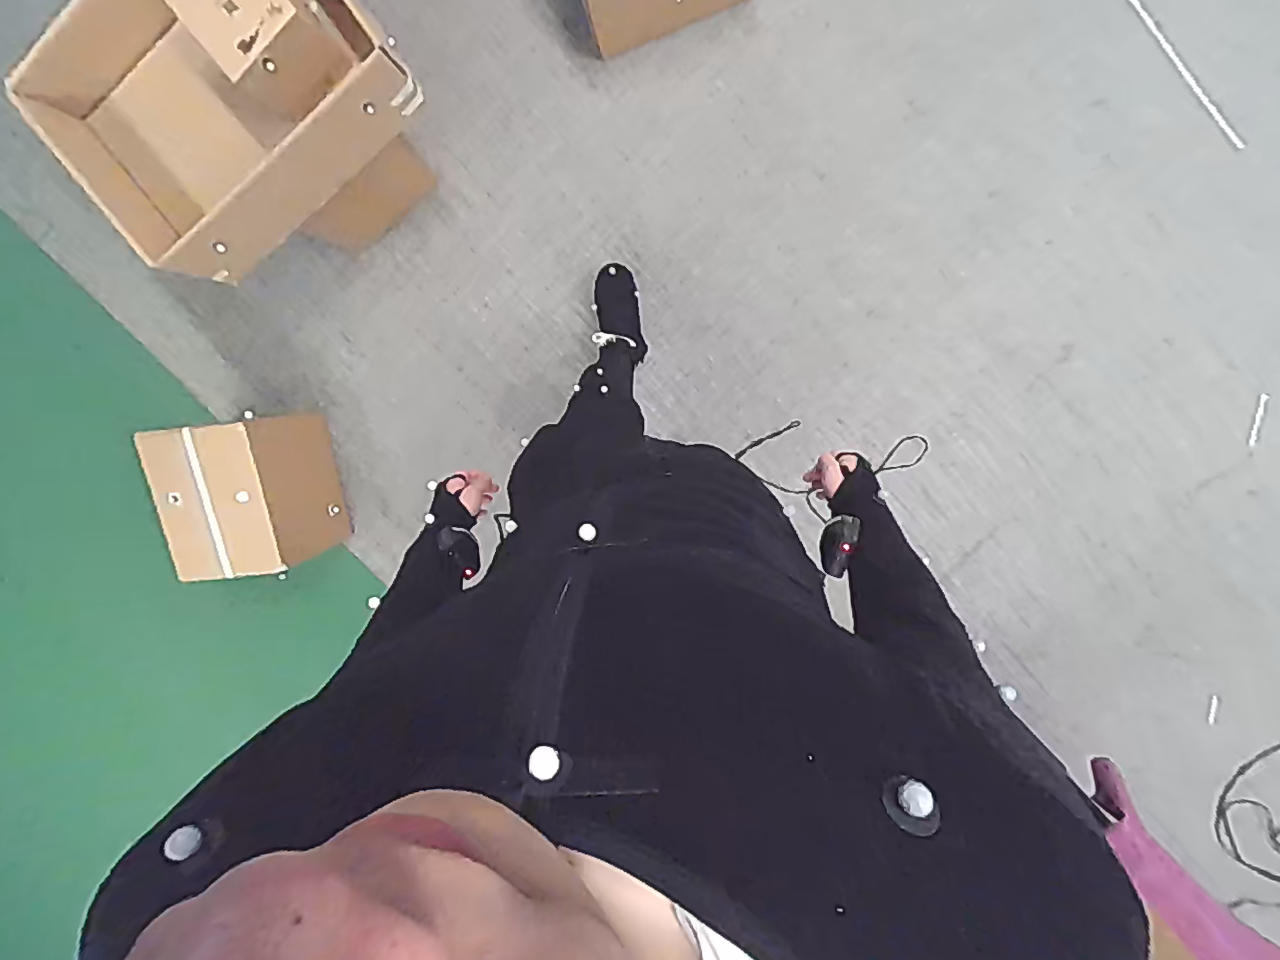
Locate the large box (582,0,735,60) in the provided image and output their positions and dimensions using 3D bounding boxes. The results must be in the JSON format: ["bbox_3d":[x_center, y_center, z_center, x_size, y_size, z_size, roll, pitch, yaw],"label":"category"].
[{"bbox_3d":[0.028,-1.236,1.183,0.408,0.320,0.320,-18,101,9],"label":"large box"}]

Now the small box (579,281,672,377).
[{"bbox_3d":[-0.043,-0.399,1.428,0.179,0.176,0.168,37,119,-3],"label":"small box"}]

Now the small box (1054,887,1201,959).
[{"bbox_3d":[0.874,0.851,0.930,0.168,0.176,0.179,-40,99,12],"label":"small box"}]
